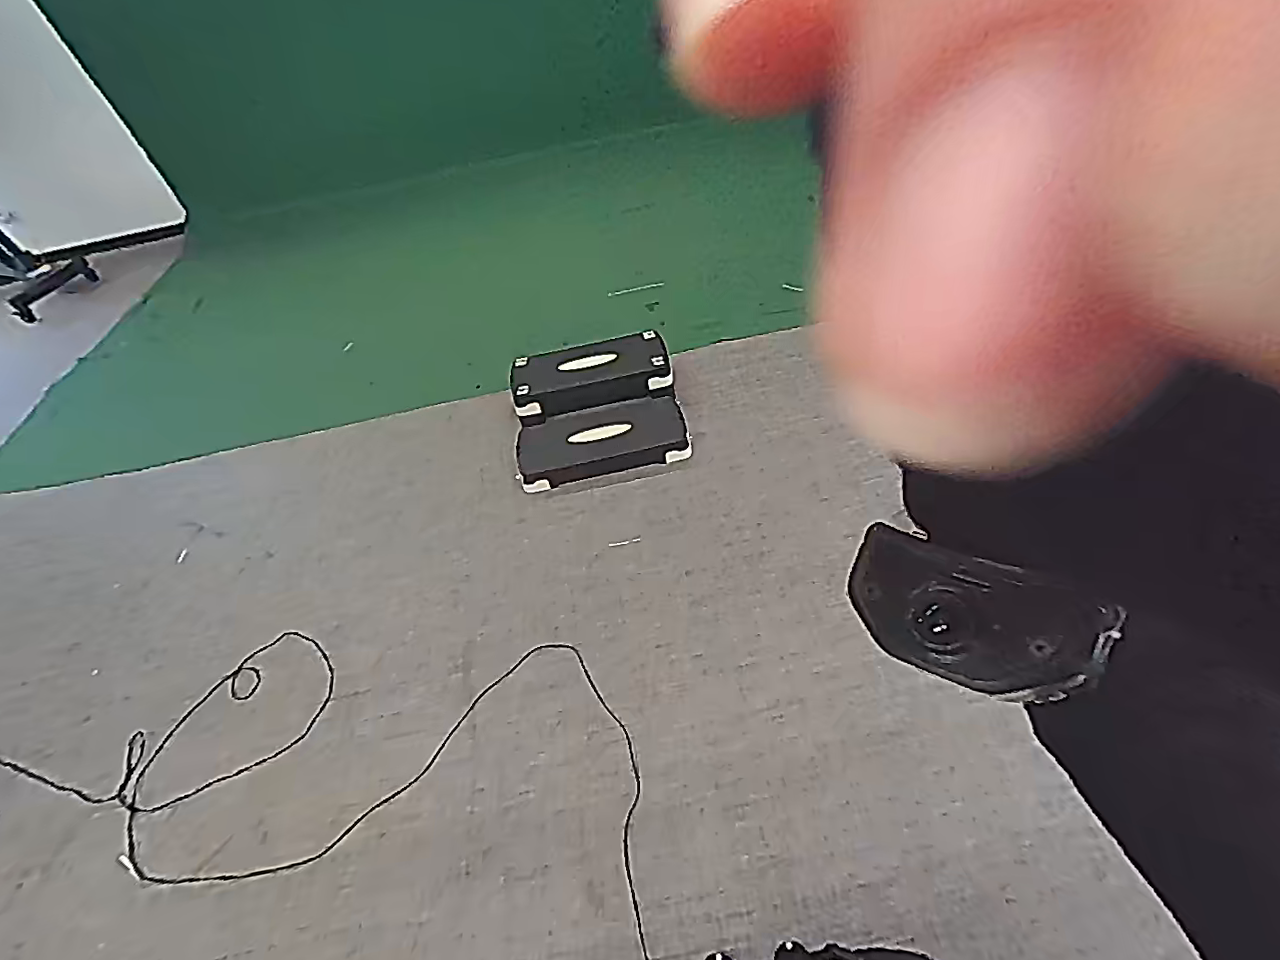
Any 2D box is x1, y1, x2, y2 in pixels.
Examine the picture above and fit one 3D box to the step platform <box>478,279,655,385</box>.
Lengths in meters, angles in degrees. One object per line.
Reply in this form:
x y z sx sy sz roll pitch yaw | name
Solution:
-0.284 -0.596 2.172 0.684 0.204 0.286 -13 49 -1 | step platform
